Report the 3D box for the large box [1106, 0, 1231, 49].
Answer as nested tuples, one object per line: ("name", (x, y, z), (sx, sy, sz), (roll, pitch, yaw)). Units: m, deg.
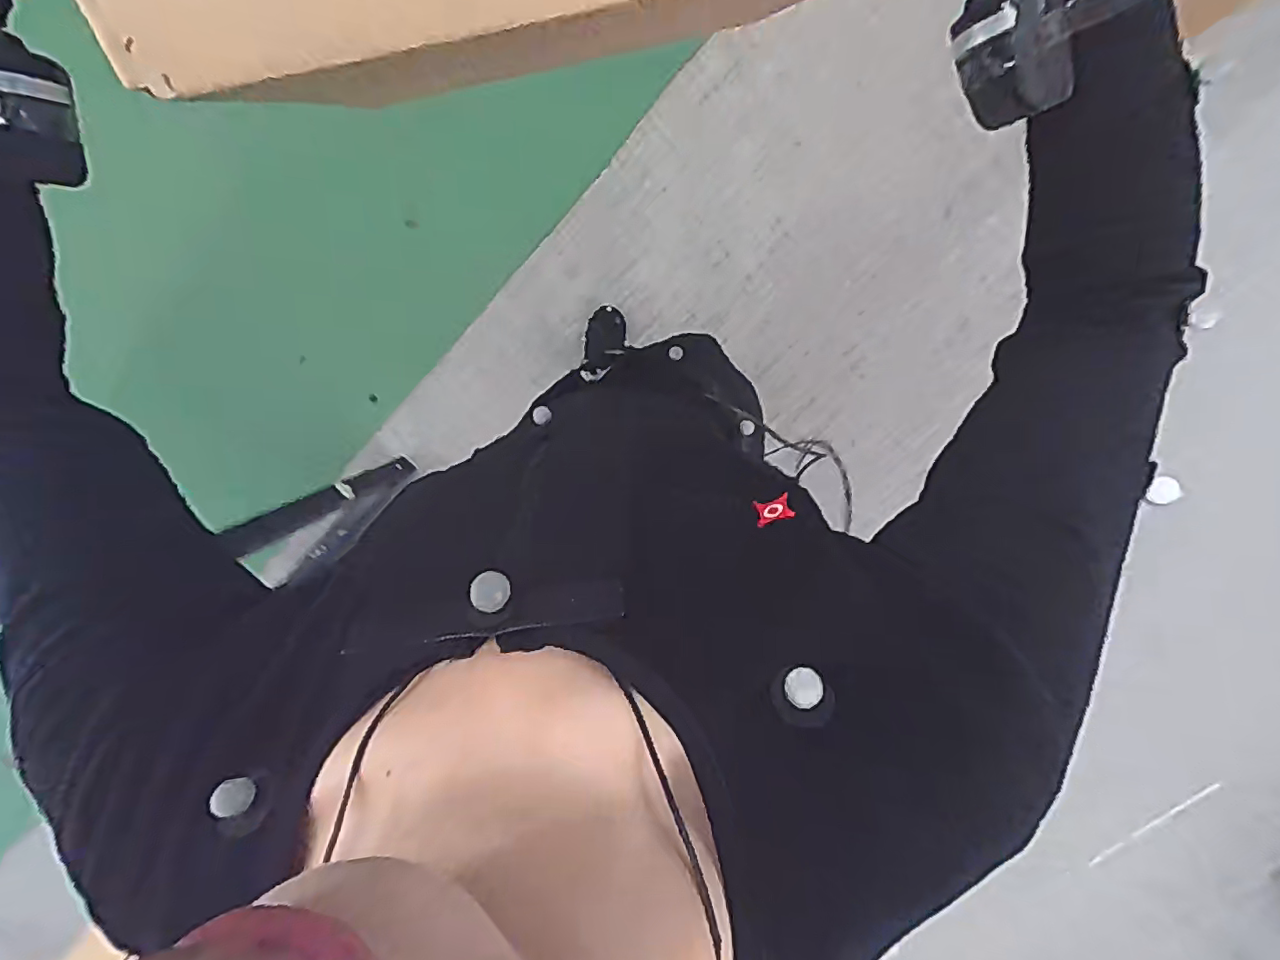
("large box", (1.095, -1.167, 1.022), (0.408, 0.320, 0.320), (44, 102, -6))
